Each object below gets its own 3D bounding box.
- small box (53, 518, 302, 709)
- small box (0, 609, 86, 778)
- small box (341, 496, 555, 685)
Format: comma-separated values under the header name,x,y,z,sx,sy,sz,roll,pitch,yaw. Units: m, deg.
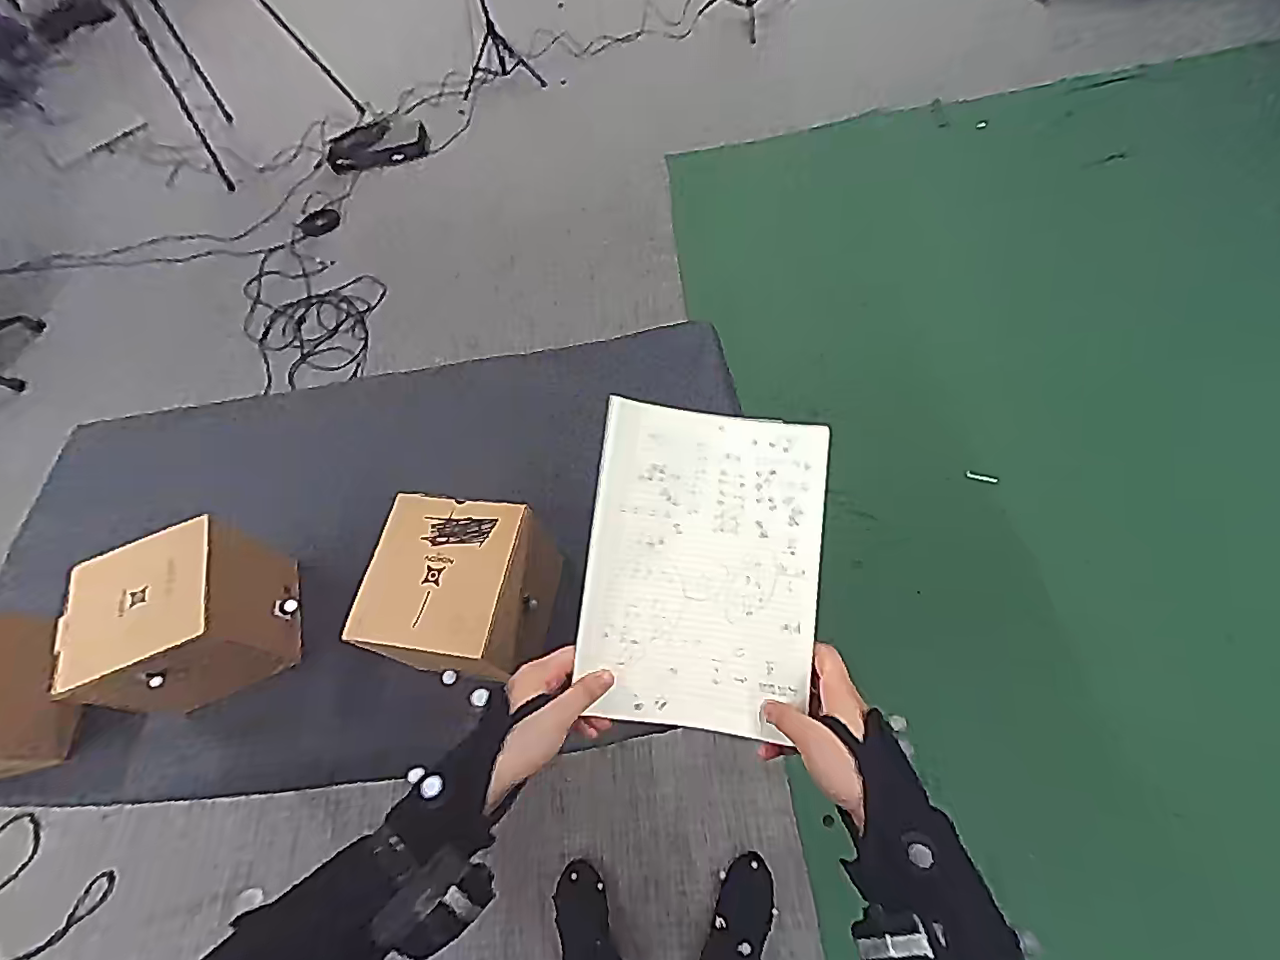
name,x,y,z,sx,sy,sz,roll,pitch,yaw
small box,-0.583,0.182,0.707,0.179,0.176,0.168,-23,61,-4
small box,-0.869,0.283,0.696,0.168,0.176,0.179,-13,60,1
small box,-0.216,0.139,0.667,0.168,0.176,0.179,4,62,12
